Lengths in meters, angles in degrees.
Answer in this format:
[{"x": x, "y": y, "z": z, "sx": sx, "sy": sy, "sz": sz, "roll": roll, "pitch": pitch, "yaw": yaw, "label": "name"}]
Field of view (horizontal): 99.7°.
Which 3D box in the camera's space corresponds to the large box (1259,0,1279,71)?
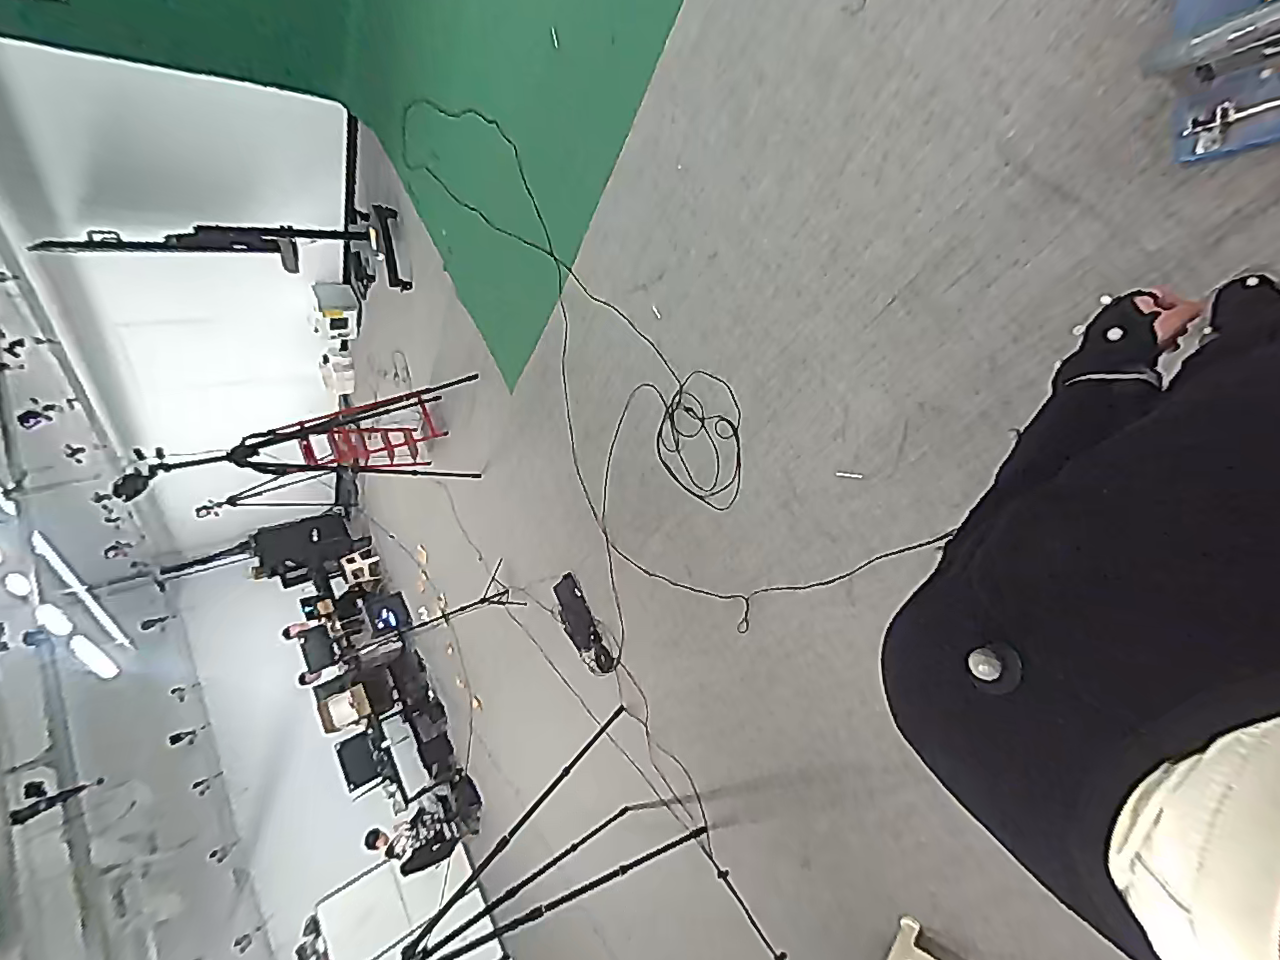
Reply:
[{"x": 1.018, "y": -0.826, "z": 0.665, "sx": 0.320, "sy": 0.320, "sz": 0.408, "roll": 4, "pitch": 105, "yaw": 50, "label": "large box"}]
